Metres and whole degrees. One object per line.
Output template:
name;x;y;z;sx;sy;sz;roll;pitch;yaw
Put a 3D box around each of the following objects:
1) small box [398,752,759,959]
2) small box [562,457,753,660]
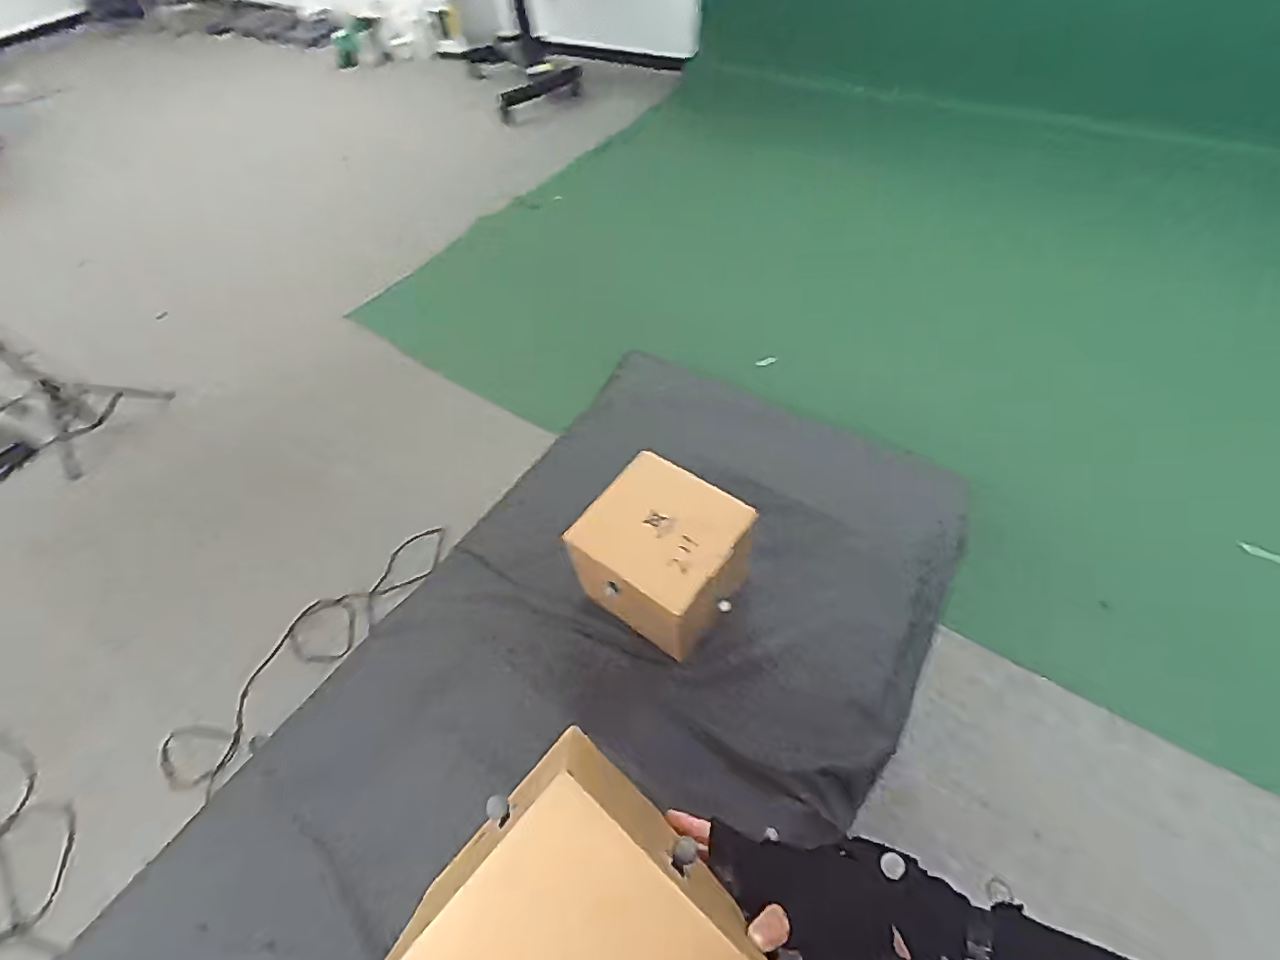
small box;-0.043;0.309;0.354;0.179;0.176;0.168;44;74;6
small box;0.026;0.107;0.714;0.179;0.176;0.168;30;63;24
